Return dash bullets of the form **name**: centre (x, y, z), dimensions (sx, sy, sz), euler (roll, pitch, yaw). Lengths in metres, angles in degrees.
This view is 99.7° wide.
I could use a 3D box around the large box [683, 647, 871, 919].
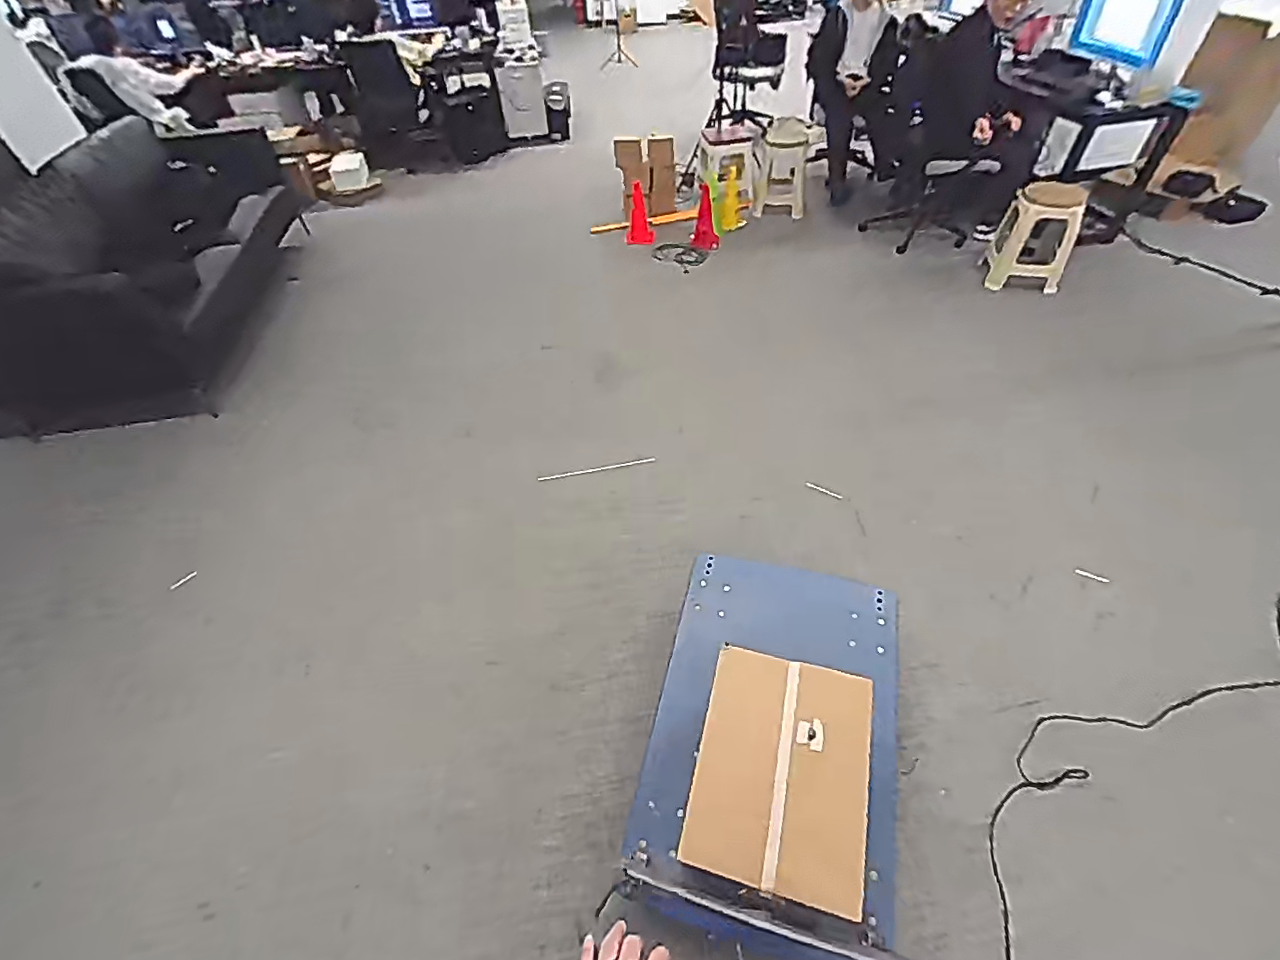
- **large box**: centre (0.288, 0.630, 1.139), dimensions (0.320, 0.320, 0.408), euler (10, 54, 14)
